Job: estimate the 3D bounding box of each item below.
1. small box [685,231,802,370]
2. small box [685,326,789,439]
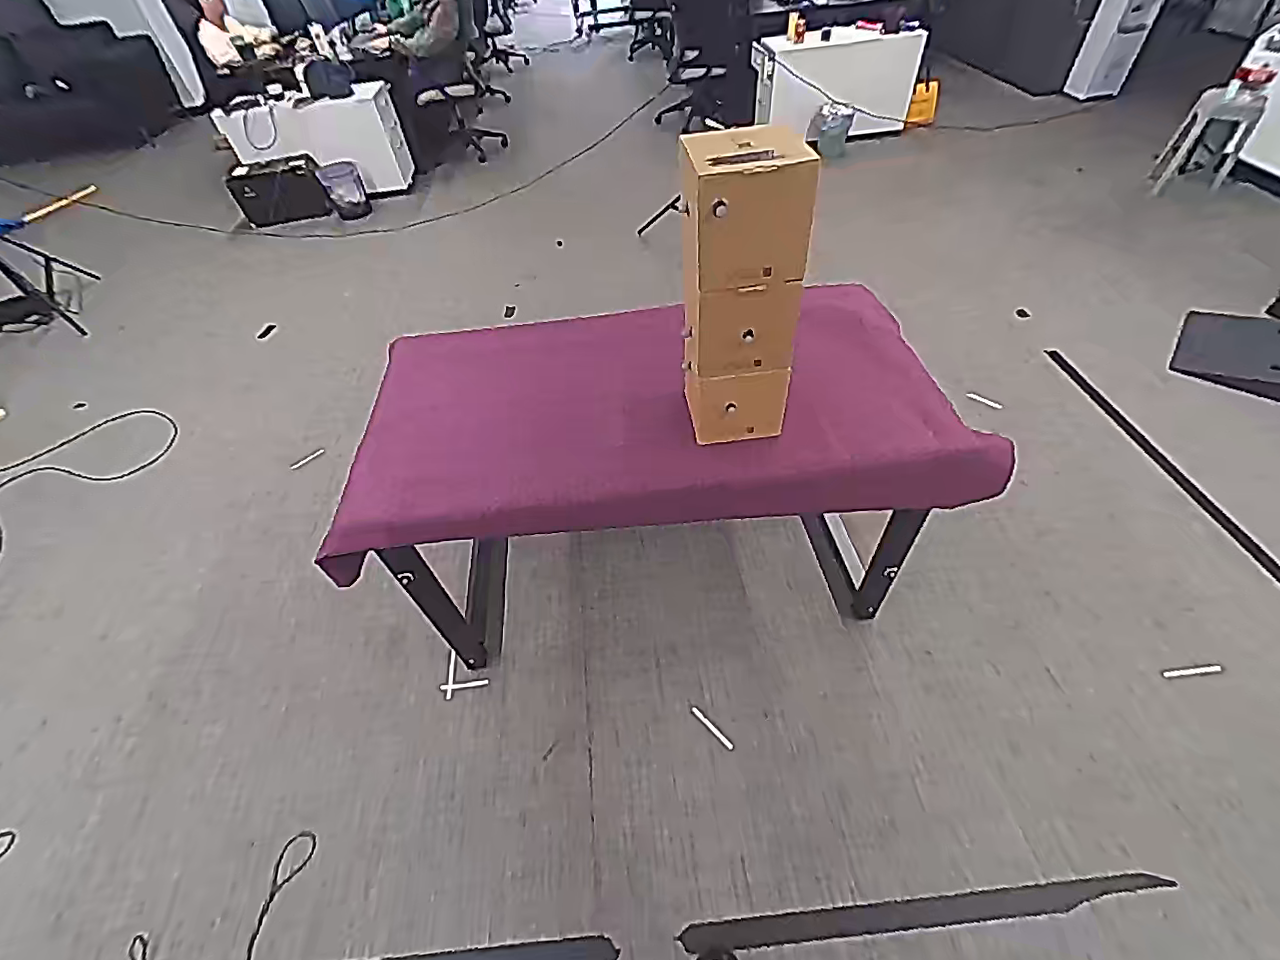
[{"bbox_3d":[0.172,-0.306,0.945,0.168,0.176,0.179,-6,49,0],"label":"small box"},{"bbox_3d":[0.185,-0.195,1.065,0.168,0.176,0.179,-7,48,0],"label":"small box"}]
